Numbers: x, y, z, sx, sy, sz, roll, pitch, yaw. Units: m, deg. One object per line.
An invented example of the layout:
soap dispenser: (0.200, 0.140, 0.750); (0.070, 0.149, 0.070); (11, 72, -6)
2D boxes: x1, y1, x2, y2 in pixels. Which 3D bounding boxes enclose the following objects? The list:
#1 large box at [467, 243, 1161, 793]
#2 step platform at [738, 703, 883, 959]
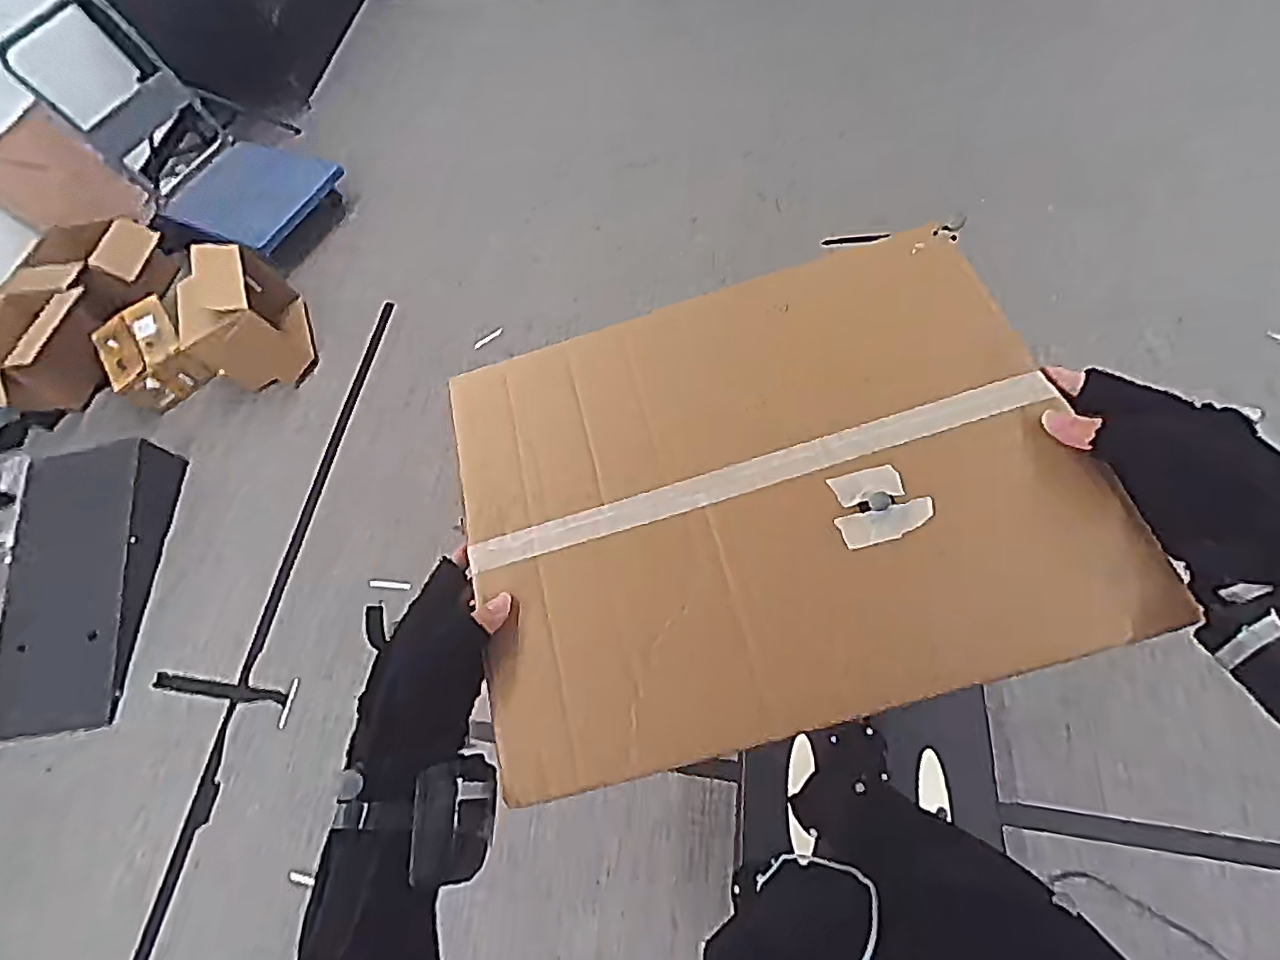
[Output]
large box: (0.103, 0.057, 0.519); (0.408, 0.320, 0.320); (-17, 67, 3)
step platform: (0.381, 0.699, 1.265); (0.286, 0.204, 0.684); (0, 64, 12)
